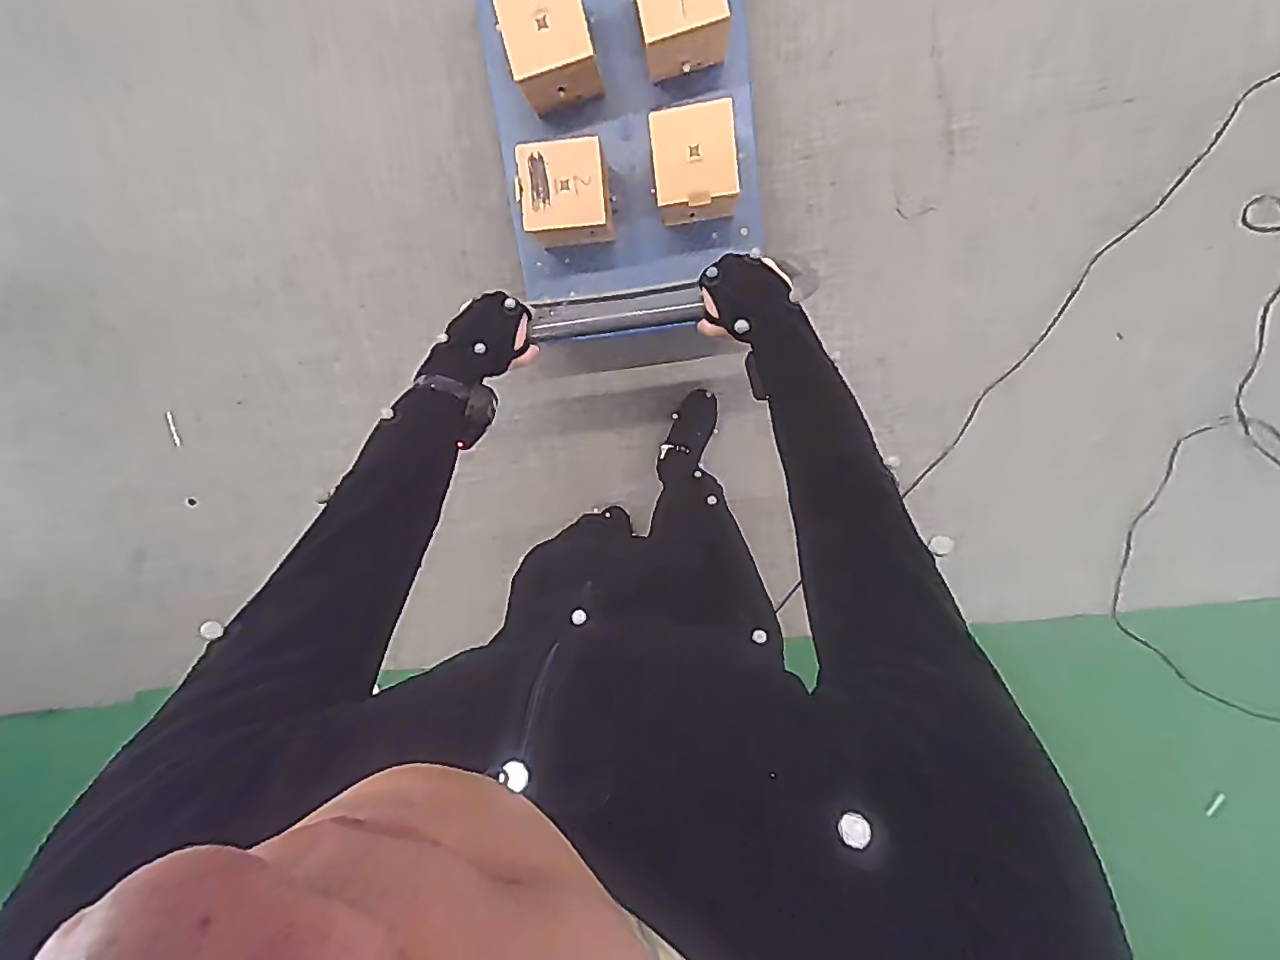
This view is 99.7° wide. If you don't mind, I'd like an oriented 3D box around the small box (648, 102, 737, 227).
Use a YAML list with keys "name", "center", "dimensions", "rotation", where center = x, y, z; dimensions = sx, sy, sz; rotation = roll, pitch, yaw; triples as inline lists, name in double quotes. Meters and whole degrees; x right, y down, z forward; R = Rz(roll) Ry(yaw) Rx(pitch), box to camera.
- name: "small box"
  center: [0.109, -0.660, 1.152]
  dimensions: [0.168, 0.176, 0.179]
  rotation: [-7, 103, 6]

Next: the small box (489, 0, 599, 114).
- name: "small box"
  center: [-0.189, -0.895, 1.119]
  dimensions: [0.168, 0.176, 0.179]
  rotation: [-13, 101, 6]

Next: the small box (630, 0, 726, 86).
- name: "small box"
  center: [0.070, -0.946, 1.087]
  dimensions: [0.168, 0.176, 0.179]
  rotation: [-12, 103, 8]
